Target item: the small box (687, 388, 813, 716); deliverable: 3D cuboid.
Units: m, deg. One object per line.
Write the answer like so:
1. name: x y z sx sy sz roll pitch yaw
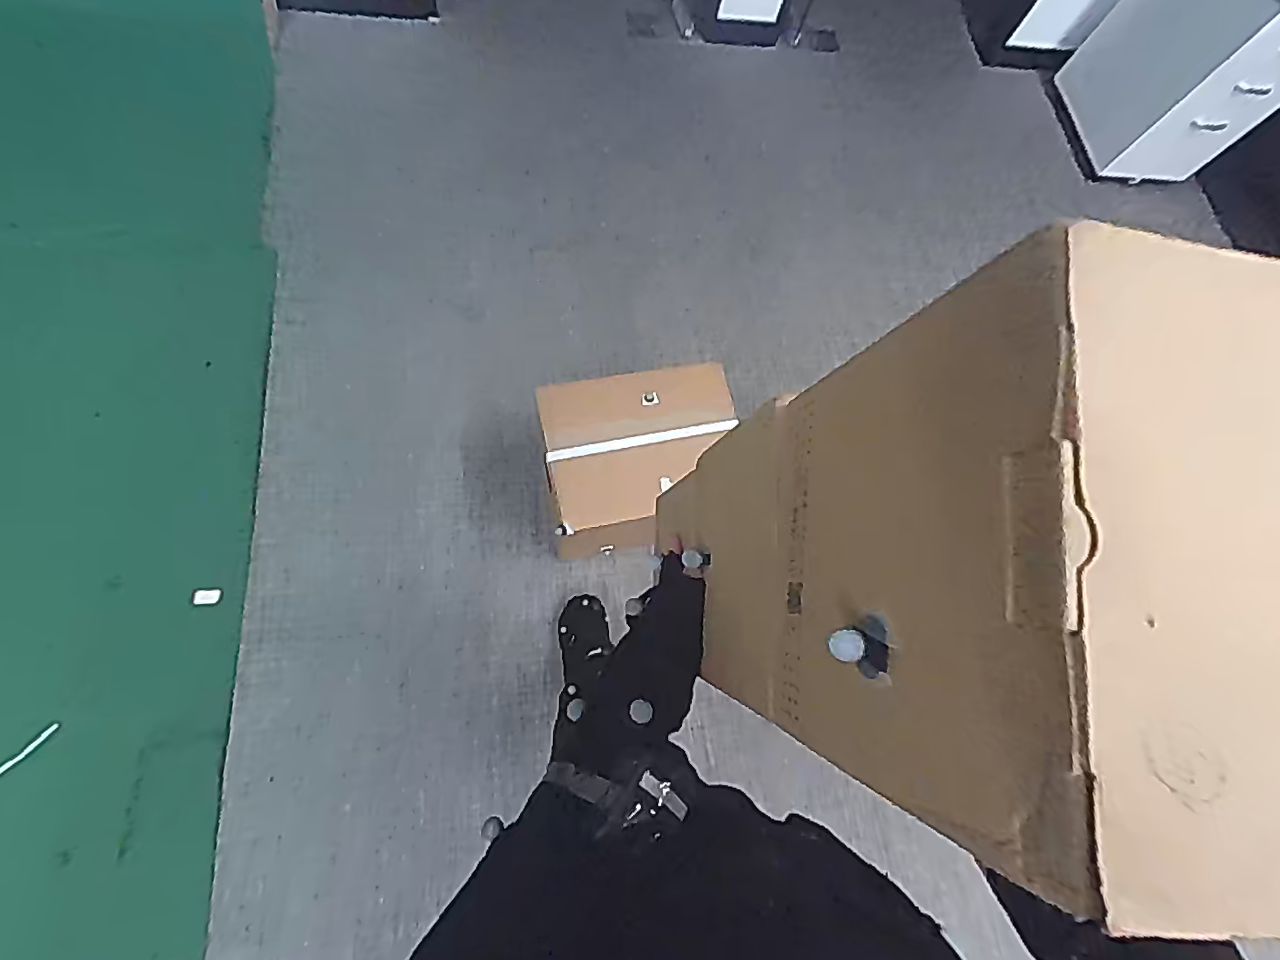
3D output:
1. small box: 0.133 0.053 0.376 0.168 0.176 0.179 5 80 -9

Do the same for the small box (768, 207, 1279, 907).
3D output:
1. small box: 0.165 0.031 0.217 0.179 0.176 0.168 8 81 -10

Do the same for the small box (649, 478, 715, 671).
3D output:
1. small box: 0.113 0.087 0.533 0.179 0.176 0.168 2 80 -10
